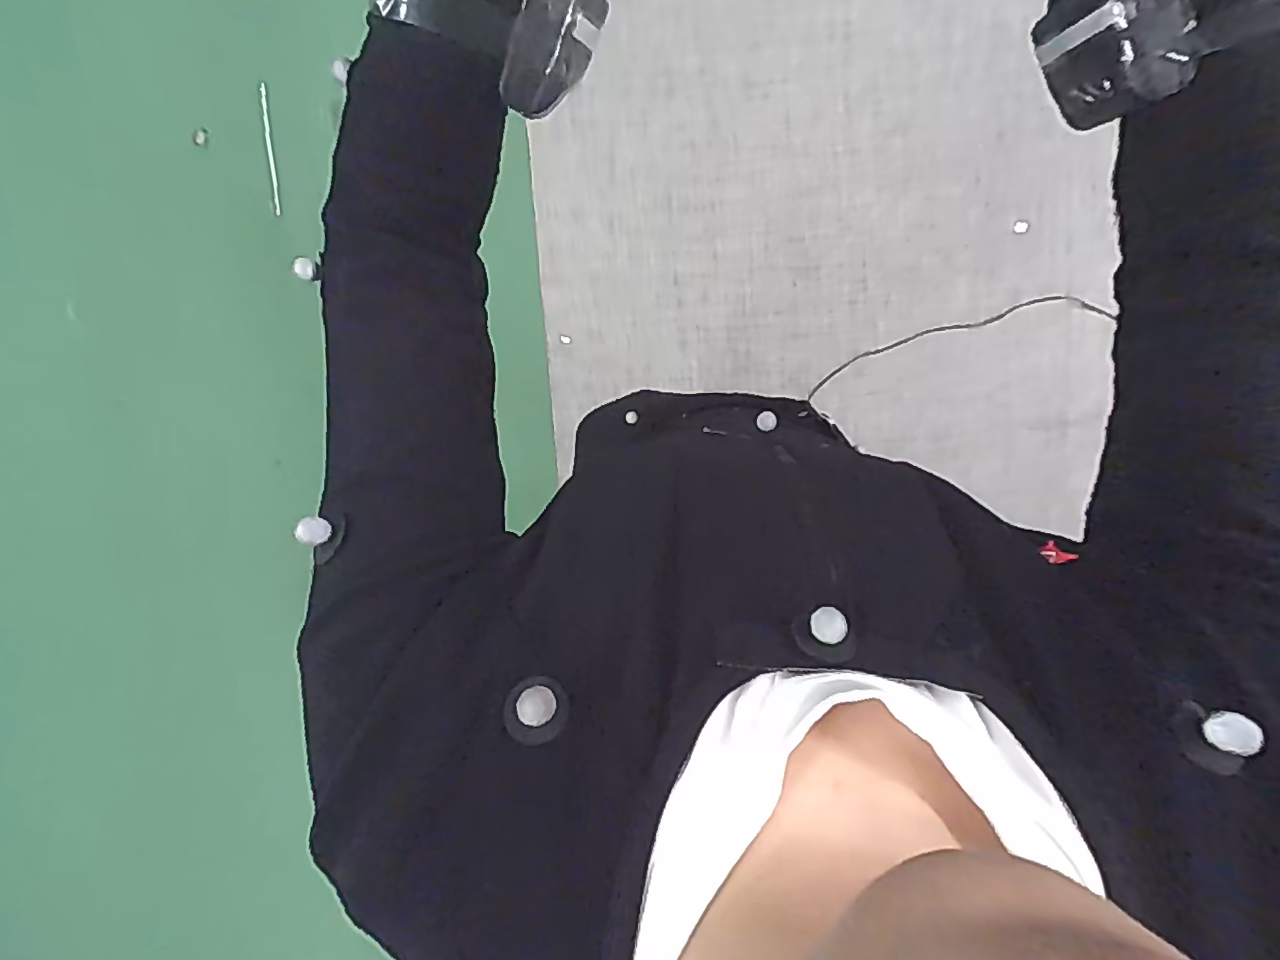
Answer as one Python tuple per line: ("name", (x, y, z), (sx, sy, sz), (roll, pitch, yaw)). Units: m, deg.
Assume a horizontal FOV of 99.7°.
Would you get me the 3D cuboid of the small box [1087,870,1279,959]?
("small box", (0.744, 0.655, 0.713), (0.179, 0.176, 0.168), (-7, 97, 3))
